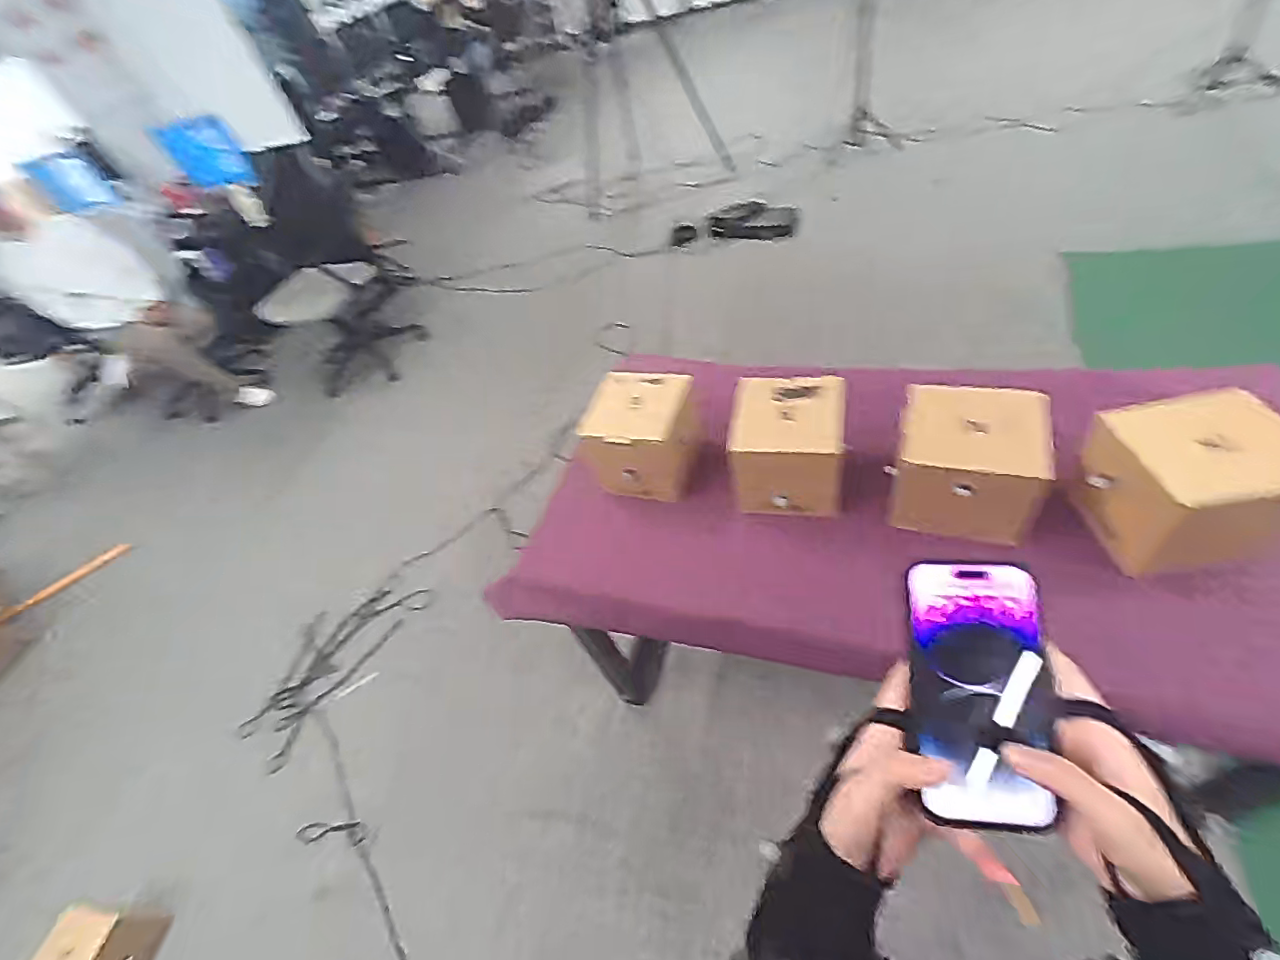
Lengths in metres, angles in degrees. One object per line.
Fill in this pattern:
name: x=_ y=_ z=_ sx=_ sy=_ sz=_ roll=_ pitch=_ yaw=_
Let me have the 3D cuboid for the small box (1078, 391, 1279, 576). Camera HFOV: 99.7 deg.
small box: x=0.733 y=0.012 z=0.721 sx=0.179 sy=0.176 sz=0.168 roll=-10 pitch=47 yaw=9

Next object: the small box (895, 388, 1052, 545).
small box: x=0.498 y=-0.020 z=0.826 sx=0.179 sy=0.176 sz=0.168 roll=9 pitch=54 yaw=24

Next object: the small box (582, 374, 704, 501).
small box: x=0.017 y=-0.080 z=1.034 sx=0.168 sy=0.176 sz=0.179 roll=7 pitch=53 yaw=23

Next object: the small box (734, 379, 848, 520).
small box: x=0.263 y=-0.054 z=0.931 sx=0.168 sy=0.176 sz=0.179 roll=2 pitch=51 yaw=20

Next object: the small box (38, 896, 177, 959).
small box: x=-1.335 y=1.168 z=1.355 sx=0.179 sy=0.176 sz=0.168 roll=-1 pitch=50 yaw=17
